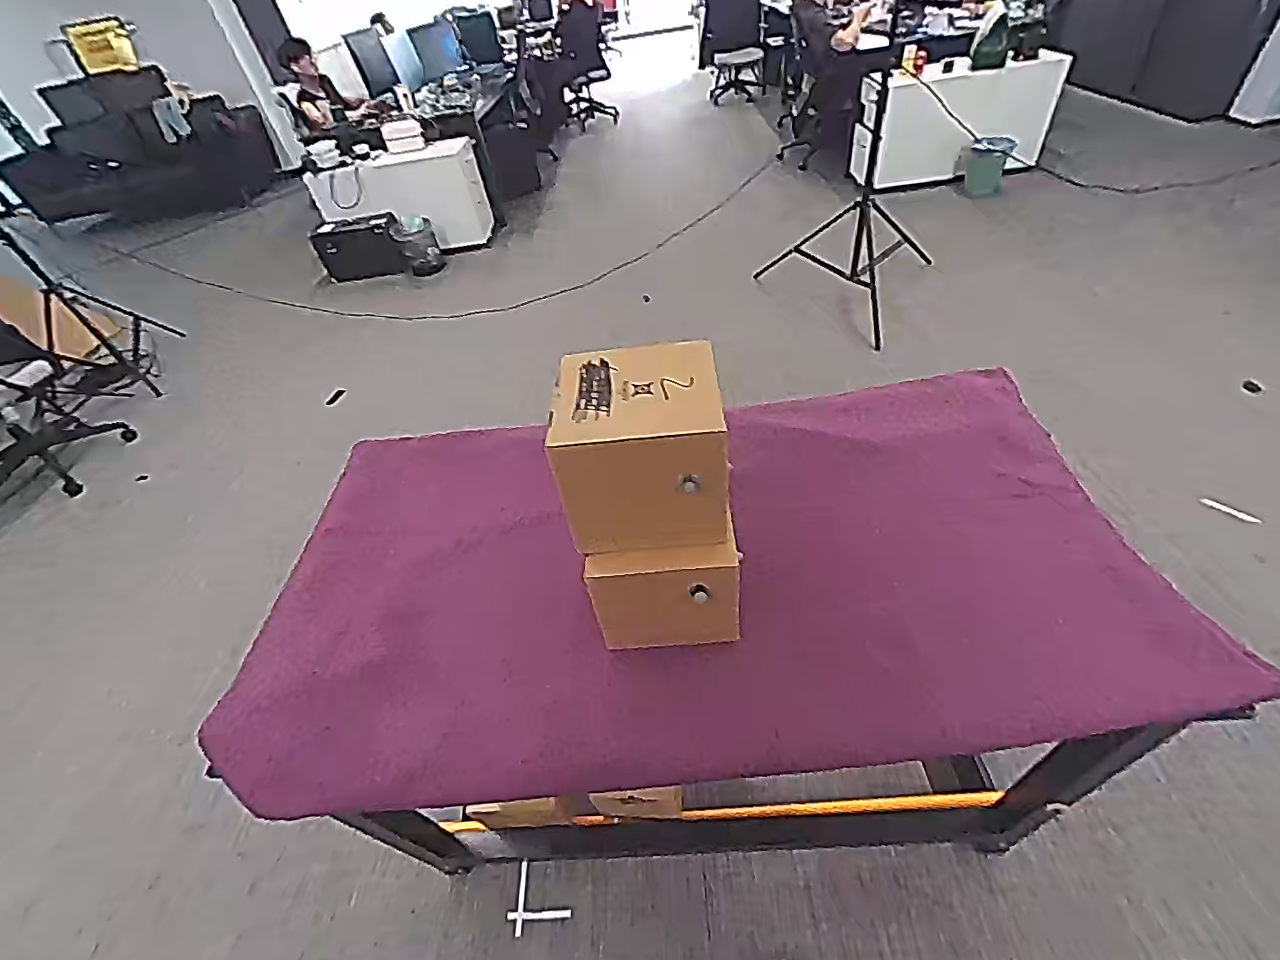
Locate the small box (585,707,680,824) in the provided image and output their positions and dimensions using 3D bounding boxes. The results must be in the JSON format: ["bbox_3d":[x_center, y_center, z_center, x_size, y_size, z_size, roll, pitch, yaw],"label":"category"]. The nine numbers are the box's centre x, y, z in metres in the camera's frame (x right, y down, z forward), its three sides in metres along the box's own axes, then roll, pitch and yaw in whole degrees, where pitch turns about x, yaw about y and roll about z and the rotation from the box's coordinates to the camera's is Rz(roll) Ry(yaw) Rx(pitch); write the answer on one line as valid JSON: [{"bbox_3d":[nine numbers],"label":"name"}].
[{"bbox_3d":[-0.006,0.590,1.114,0.168,0.176,0.179,-1,45,8],"label":"small box"}]

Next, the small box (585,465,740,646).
[{"bbox_3d":[0.032,0.102,0.712,0.179,0.176,0.168,-6,43,4],"label":"small box"}]
